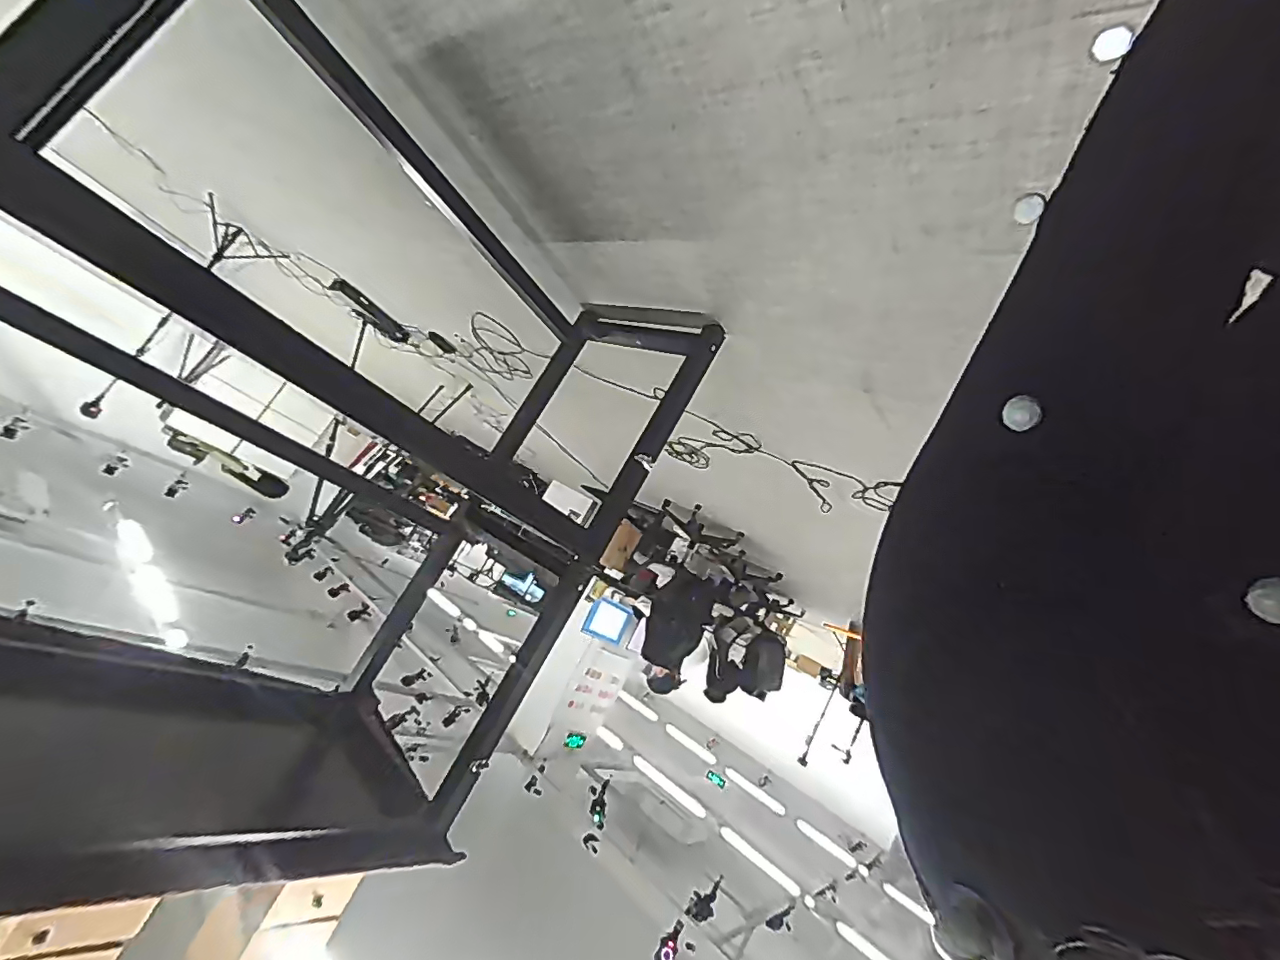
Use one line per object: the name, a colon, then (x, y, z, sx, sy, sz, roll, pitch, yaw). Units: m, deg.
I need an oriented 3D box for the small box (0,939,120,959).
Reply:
small box: (-0.970, 0.751, 0.852, 0.179, 0.176, 0.168, 23, 165, 42)

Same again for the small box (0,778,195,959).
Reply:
small box: (-0.885, 0.617, 0.887, 0.168, 0.176, 0.179, 23, 166, 39)

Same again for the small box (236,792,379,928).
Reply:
small box: (-0.697, 0.789, 1.146, 0.168, 0.176, 0.179, 19, 164, 39)
